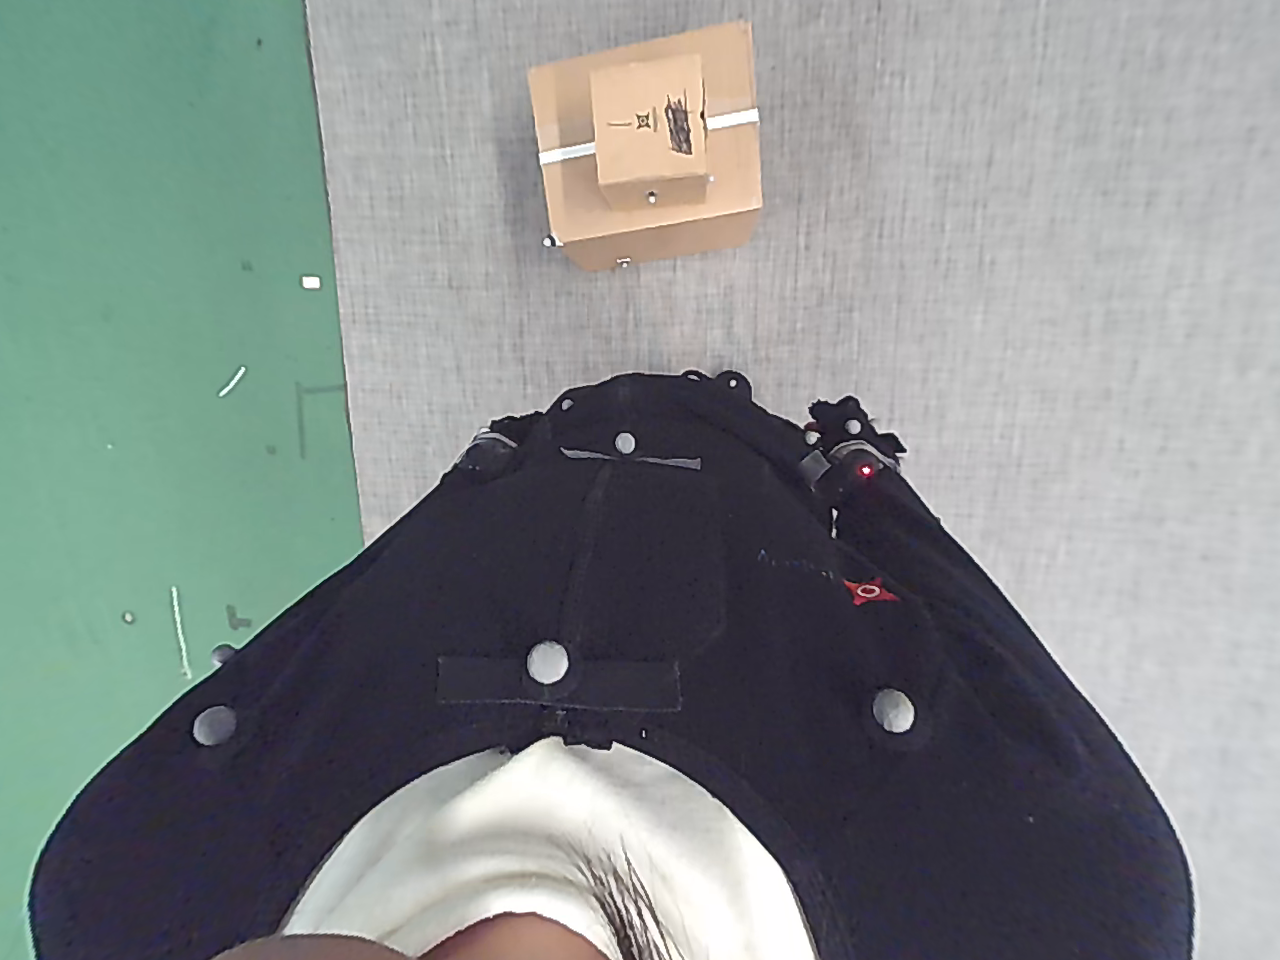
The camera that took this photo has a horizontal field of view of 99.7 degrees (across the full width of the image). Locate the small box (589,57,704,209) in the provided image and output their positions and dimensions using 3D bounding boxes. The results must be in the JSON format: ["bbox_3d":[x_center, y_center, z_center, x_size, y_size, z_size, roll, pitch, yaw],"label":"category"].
[{"bbox_3d":[0.019,-0.579,0.924,0.179,0.176,0.168,-2,102,8],"label":"small box"}]
